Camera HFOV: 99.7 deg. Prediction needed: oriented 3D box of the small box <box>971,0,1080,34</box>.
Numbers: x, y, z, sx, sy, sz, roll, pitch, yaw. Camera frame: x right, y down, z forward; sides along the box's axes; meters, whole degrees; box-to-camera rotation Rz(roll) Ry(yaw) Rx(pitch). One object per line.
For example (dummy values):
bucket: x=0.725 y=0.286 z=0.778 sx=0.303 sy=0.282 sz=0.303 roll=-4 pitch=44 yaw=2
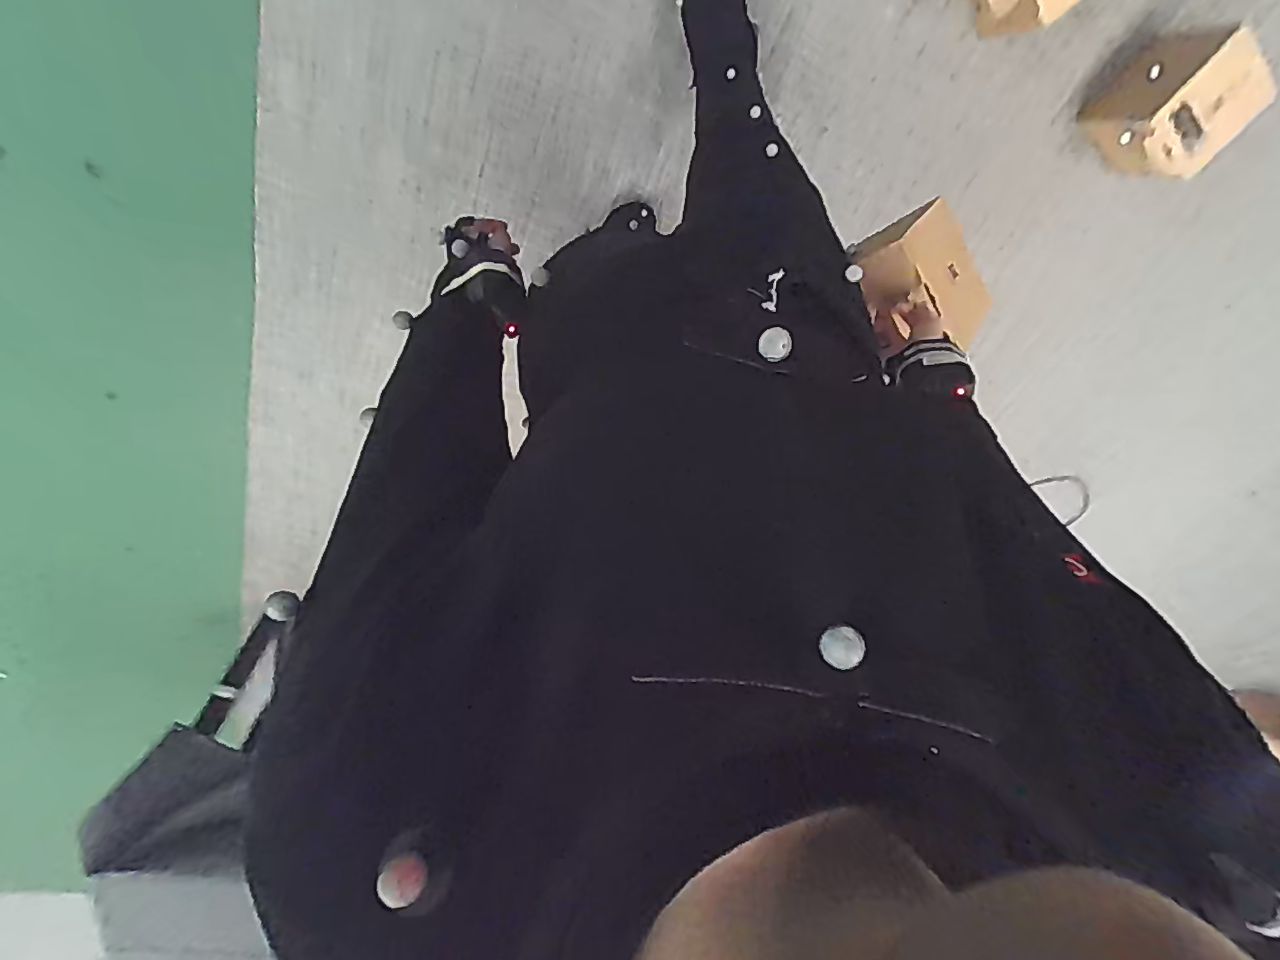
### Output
small box: x=0.655 y=-0.867 z=0.866 sx=0.179 sy=0.176 sz=0.168 roll=-37 pitch=121 yaw=19

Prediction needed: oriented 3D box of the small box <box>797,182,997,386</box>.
small box: x=0.335 y=-0.250 z=0.717 sx=0.176 sy=0.179 sz=0.168 roll=-16 pitch=115 yaw=50
